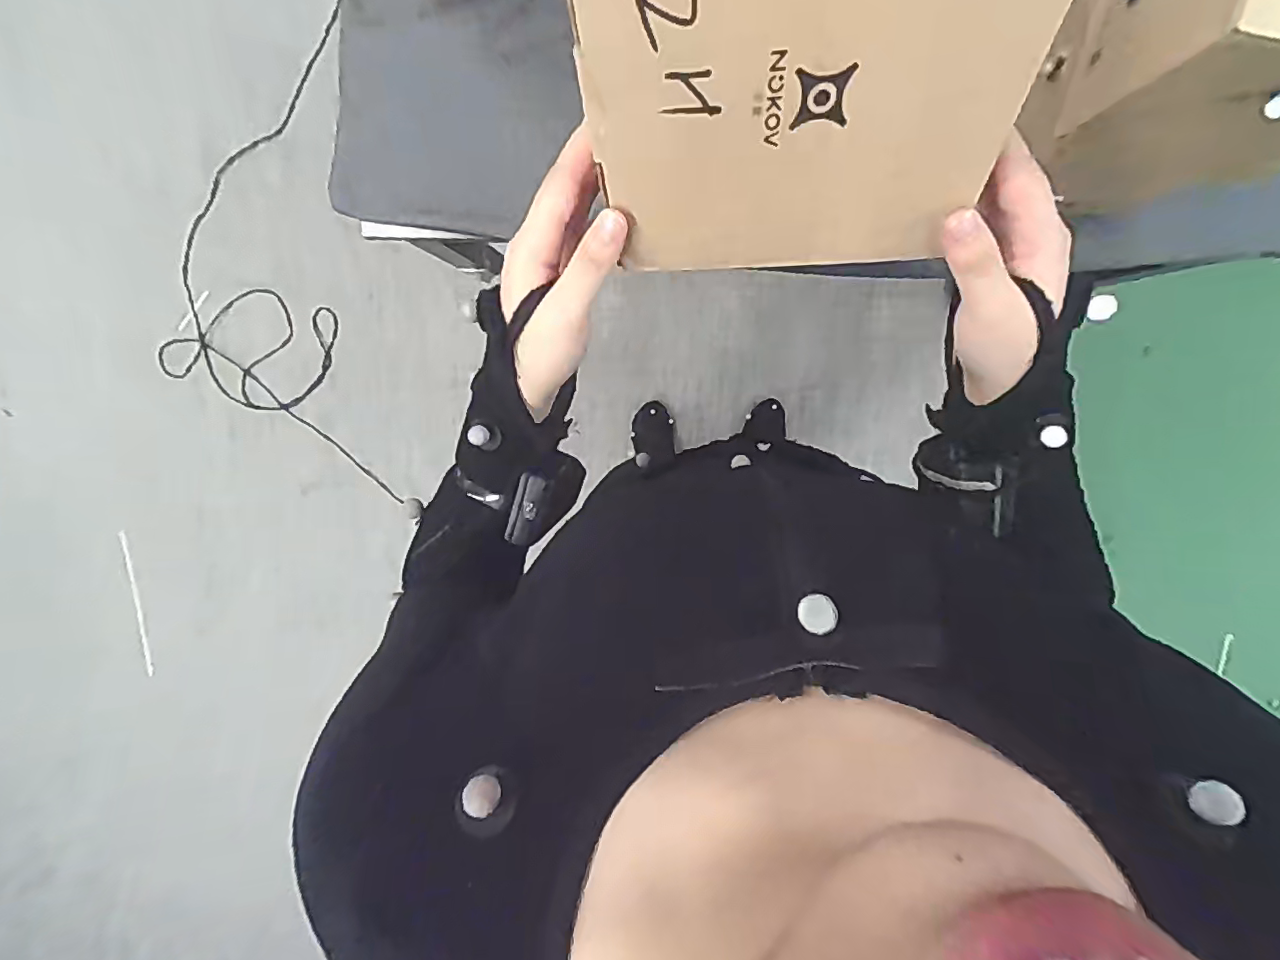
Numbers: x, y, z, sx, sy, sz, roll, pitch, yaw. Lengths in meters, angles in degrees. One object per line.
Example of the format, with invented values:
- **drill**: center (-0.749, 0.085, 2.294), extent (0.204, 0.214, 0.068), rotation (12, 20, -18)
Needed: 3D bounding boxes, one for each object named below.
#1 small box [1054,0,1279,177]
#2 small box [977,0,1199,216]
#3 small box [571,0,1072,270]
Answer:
- **small box**: center (0.479, -0.357, 0.410), extent (0.179, 0.176, 0.168), rotation (14, 100, 2)
- **small box**: center (0.488, -0.400, 0.567), extent (0.168, 0.176, 0.179), rotation (3, 100, 3)
- **small box**: center (0.070, -0.224, 0.255), extent (0.179, 0.168, 0.176), rotation (2, 61, 8)
